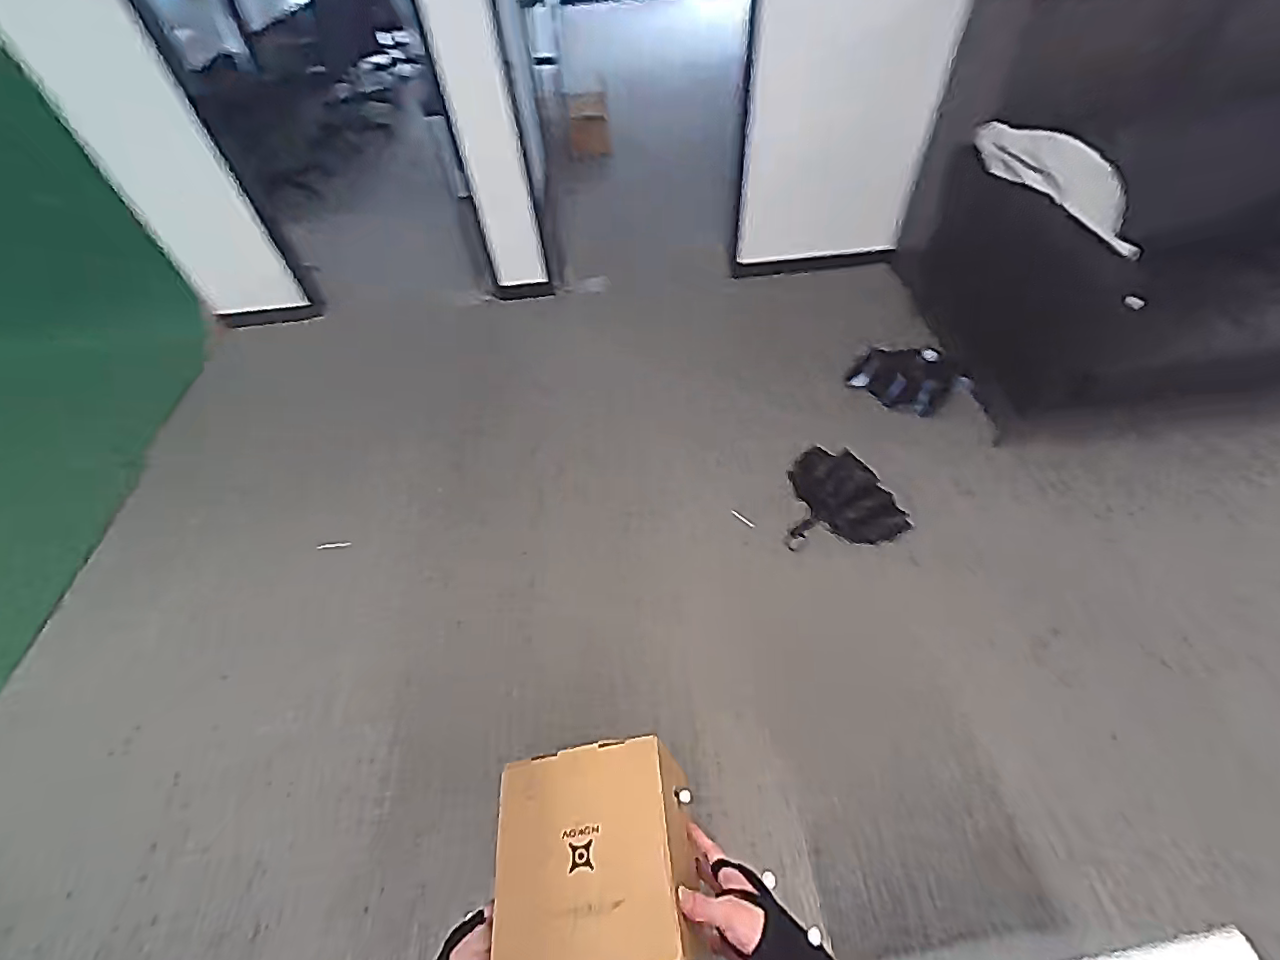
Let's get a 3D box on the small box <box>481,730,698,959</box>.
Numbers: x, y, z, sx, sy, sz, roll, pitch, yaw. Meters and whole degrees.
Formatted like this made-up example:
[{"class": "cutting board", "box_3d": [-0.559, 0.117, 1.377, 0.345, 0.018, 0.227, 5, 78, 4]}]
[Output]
[{"class": "small box", "box_3d": [-0.044, 0.386, 0.553, 0.168, 0.176, 0.179, -14, 47, 5]}]
